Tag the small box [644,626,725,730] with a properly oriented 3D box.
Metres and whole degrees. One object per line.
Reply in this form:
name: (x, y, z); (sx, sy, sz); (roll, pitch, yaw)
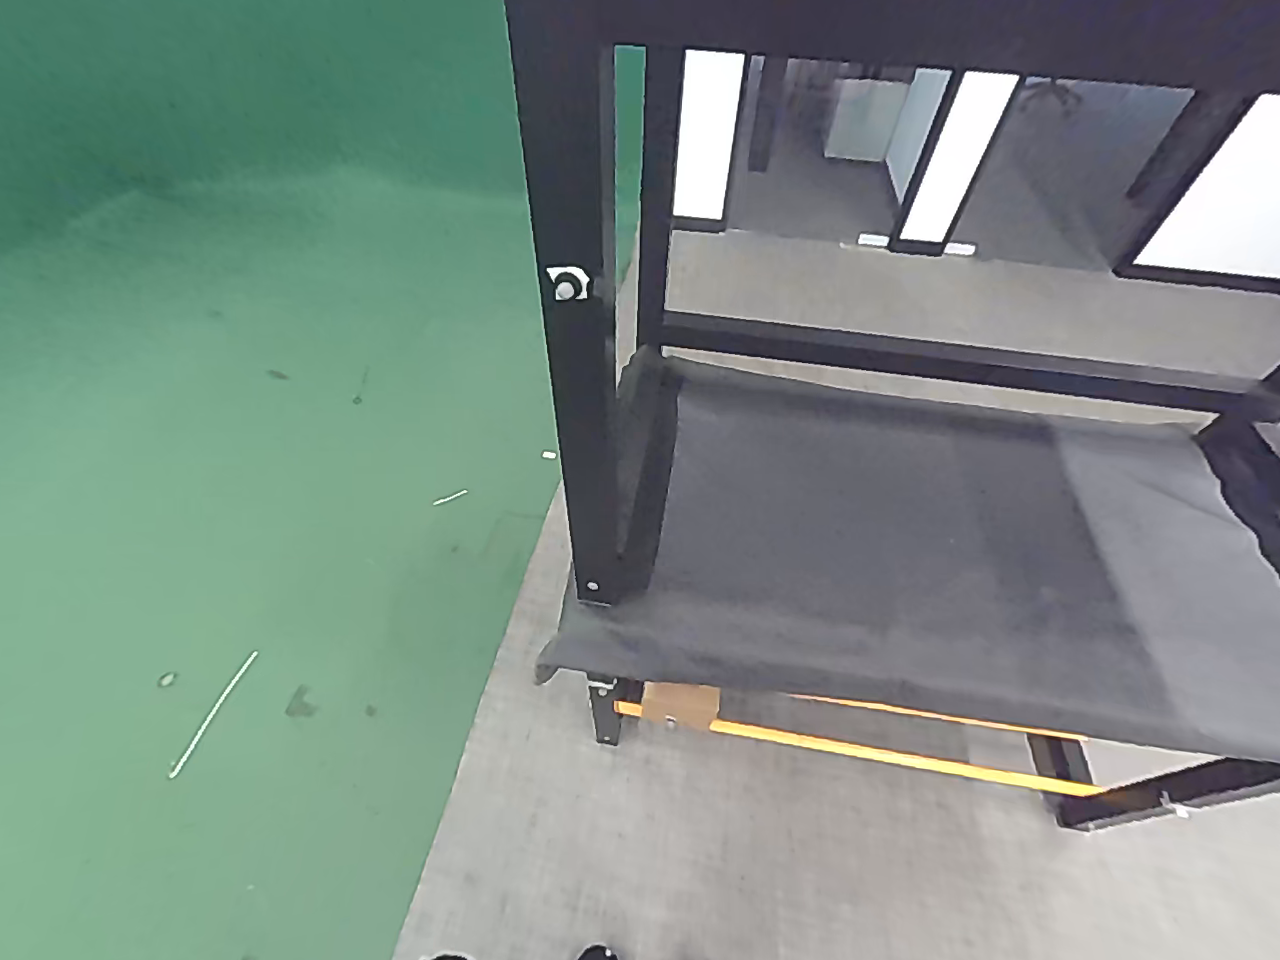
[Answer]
small box: (0.102, 0.472, 1.285); (0.168, 0.176, 0.179); (8, 52, 4)
